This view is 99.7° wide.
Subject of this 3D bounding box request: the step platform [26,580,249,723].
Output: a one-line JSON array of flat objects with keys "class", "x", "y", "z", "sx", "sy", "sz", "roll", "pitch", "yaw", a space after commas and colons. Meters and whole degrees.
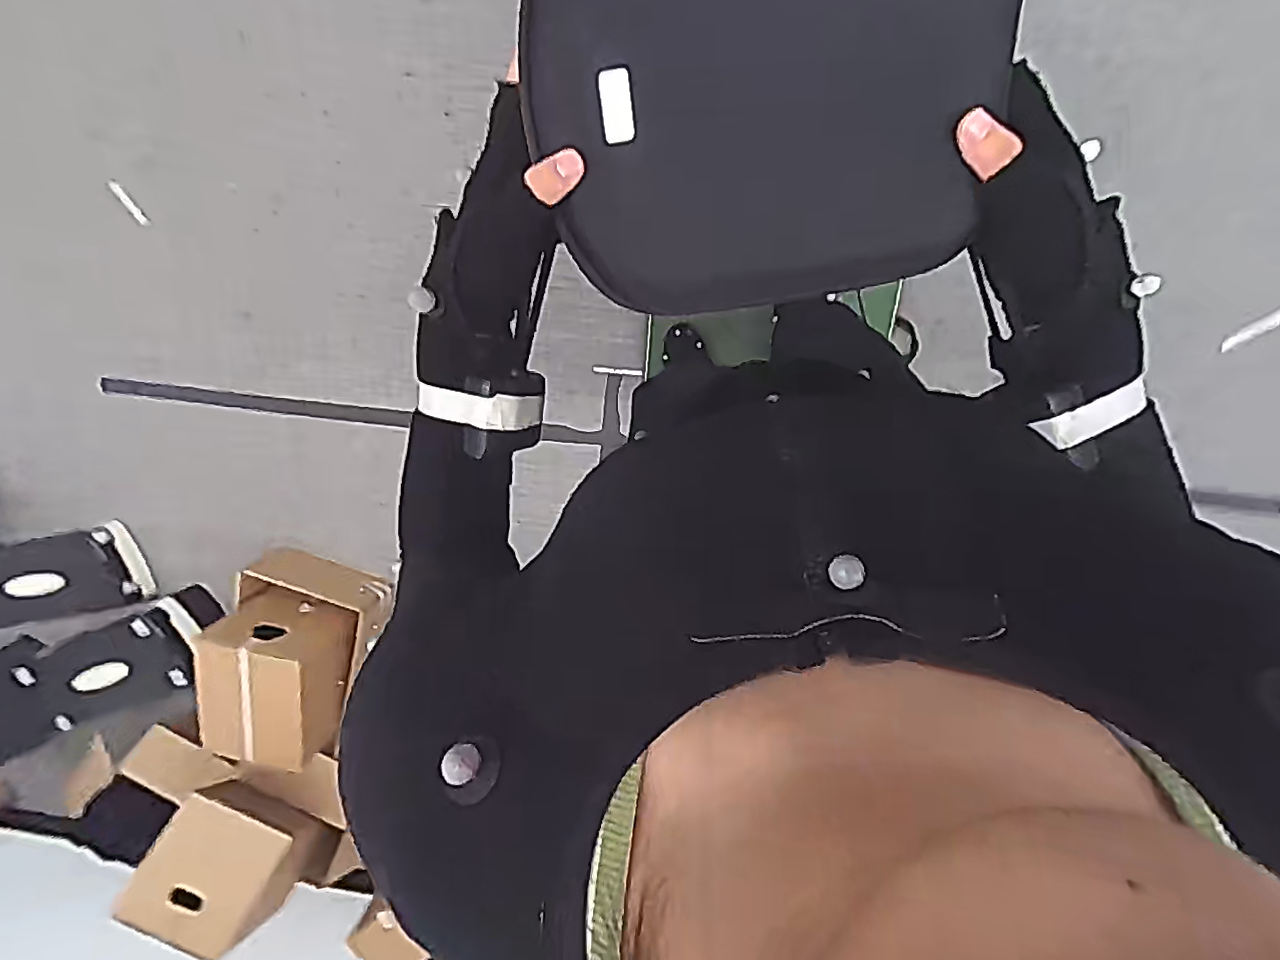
[{"class": "step platform", "x": -1.740, "y": 0.599, "z": 1.872, "sx": 0.684, "sy": 0.204, "sz": 0.286, "roll": -22, "pitch": 104, "yaw": 12}]
